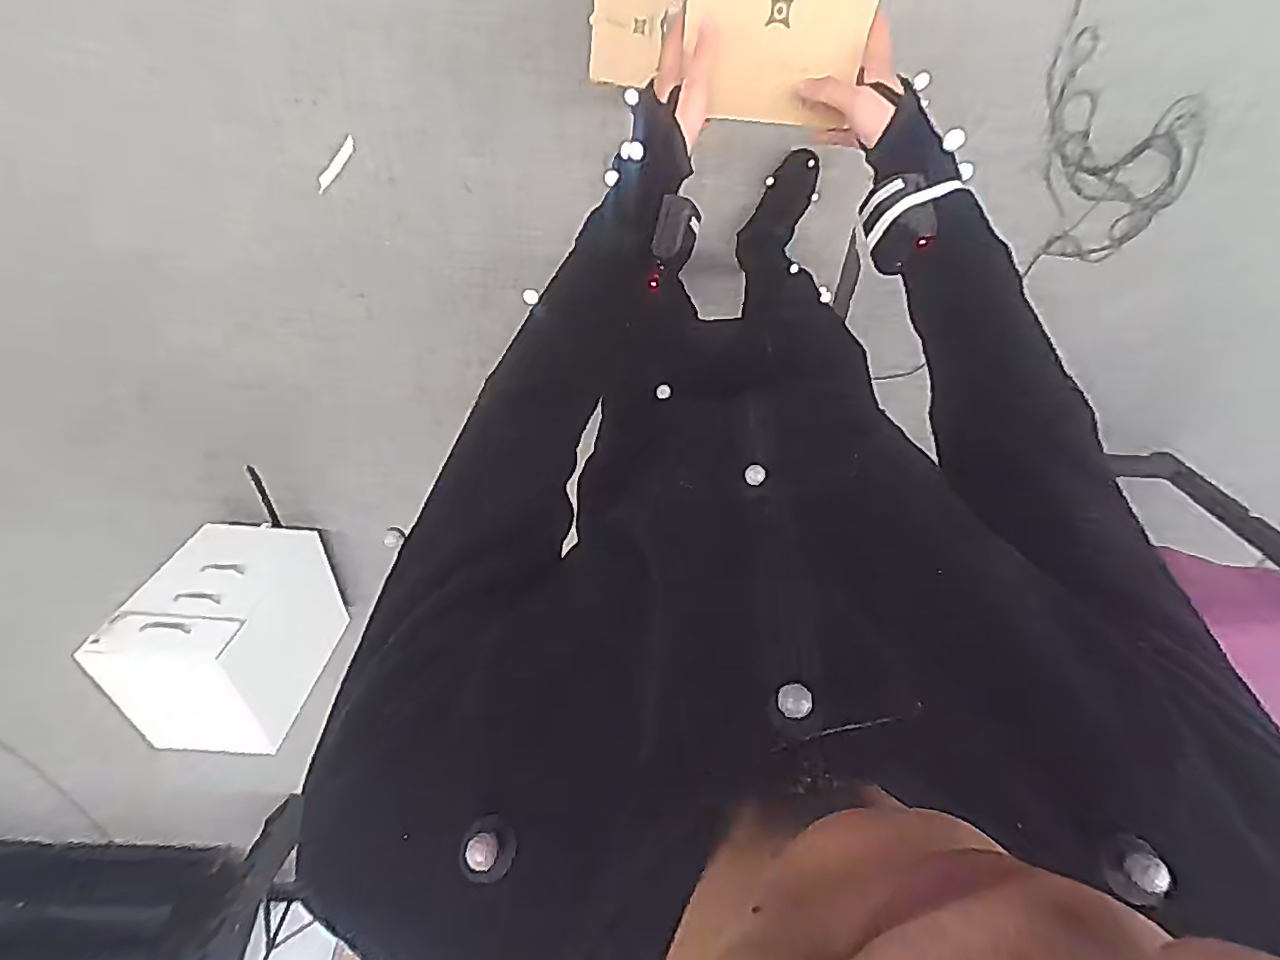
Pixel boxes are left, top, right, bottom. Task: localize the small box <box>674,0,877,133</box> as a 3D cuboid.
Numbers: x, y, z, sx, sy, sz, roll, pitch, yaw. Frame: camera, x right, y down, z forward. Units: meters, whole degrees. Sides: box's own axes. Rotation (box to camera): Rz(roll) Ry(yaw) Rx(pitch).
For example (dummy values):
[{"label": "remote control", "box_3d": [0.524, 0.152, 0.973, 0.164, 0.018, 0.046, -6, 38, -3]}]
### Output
[{"label": "small box", "box_3d": [0.124, -0.462, 0.528, 0.168, 0.176, 0.179, 5, 132, -1]}]
